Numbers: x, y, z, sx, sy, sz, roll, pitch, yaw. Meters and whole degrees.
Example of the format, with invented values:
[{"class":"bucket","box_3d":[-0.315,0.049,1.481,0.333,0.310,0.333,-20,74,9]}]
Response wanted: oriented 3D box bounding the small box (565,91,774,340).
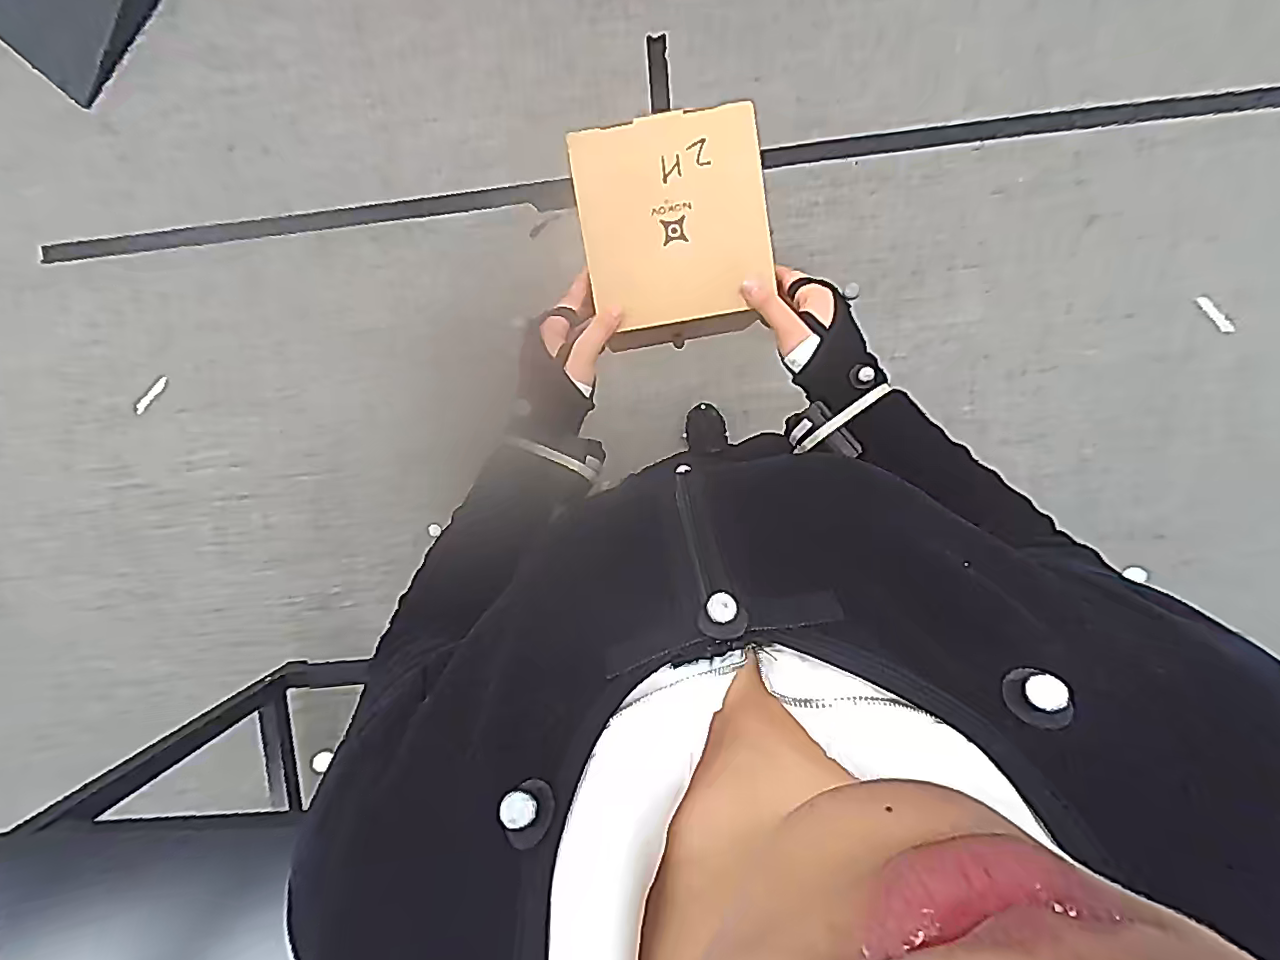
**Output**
[{"class":"small box","box_3d":[0.030,-0.246,0.554,0.168,0.176,0.179,-10,97,2]}]
